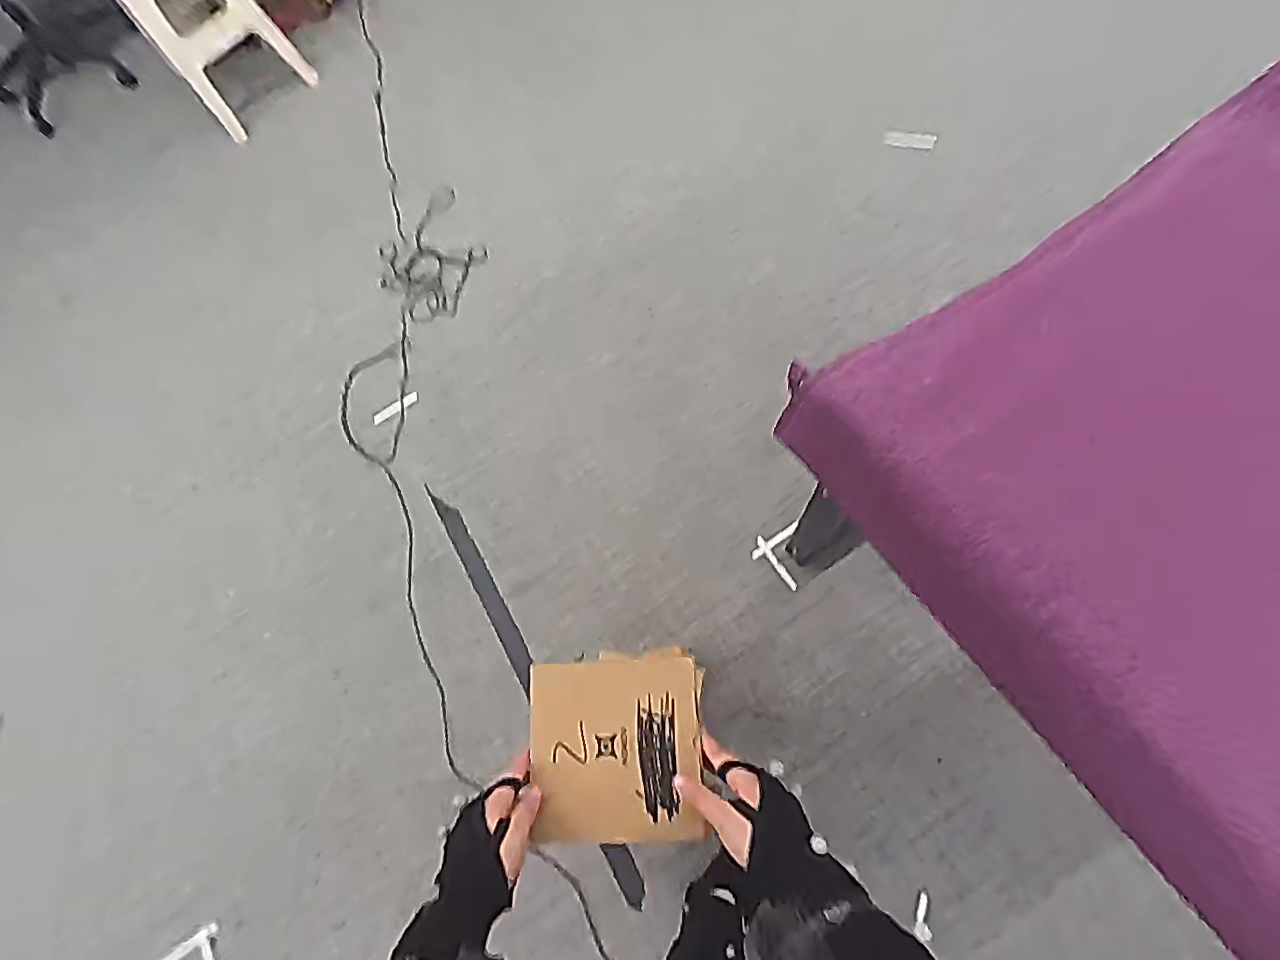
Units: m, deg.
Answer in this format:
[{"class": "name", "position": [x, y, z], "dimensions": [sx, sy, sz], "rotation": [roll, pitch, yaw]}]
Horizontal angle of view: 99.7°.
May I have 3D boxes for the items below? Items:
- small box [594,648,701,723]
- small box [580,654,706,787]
[{"class": "small box", "position": [0.020, 0.439, 1.086], "dimensions": [0.179, 0.176, 0.168], "rotation": [-13, 70, 4]}, {"class": "small box", "position": [0.016, 0.398, 0.924], "dimensions": [0.179, 0.176, 0.168], "rotation": [8, 72, 11]}]
